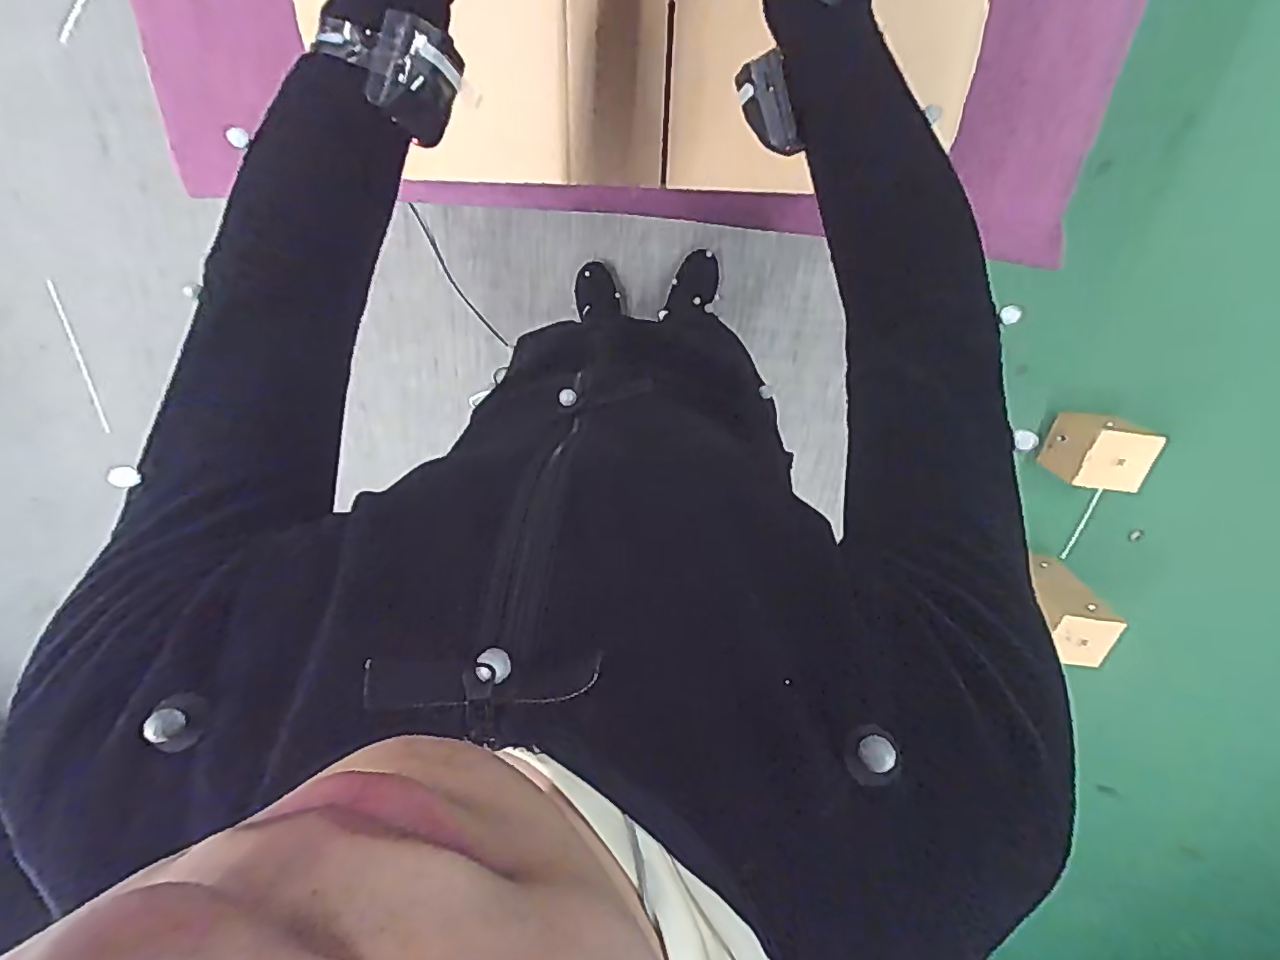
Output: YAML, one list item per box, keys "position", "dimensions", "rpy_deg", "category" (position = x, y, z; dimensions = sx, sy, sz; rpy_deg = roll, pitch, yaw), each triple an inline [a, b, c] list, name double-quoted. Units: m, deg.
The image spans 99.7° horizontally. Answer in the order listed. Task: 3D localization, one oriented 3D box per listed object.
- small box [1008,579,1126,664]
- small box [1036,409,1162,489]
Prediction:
- position: [1.232, 0.406, 1.576]
  dimensions: [0.179, 0.176, 0.168]
  rpy_deg: [8, 116, 0]
  category: "small box"
- position: [1.274, -0.090, 1.516]
  dimensions: [0.179, 0.176, 0.168]
  rpy_deg: [6, 116, 1]
  category: "small box"
